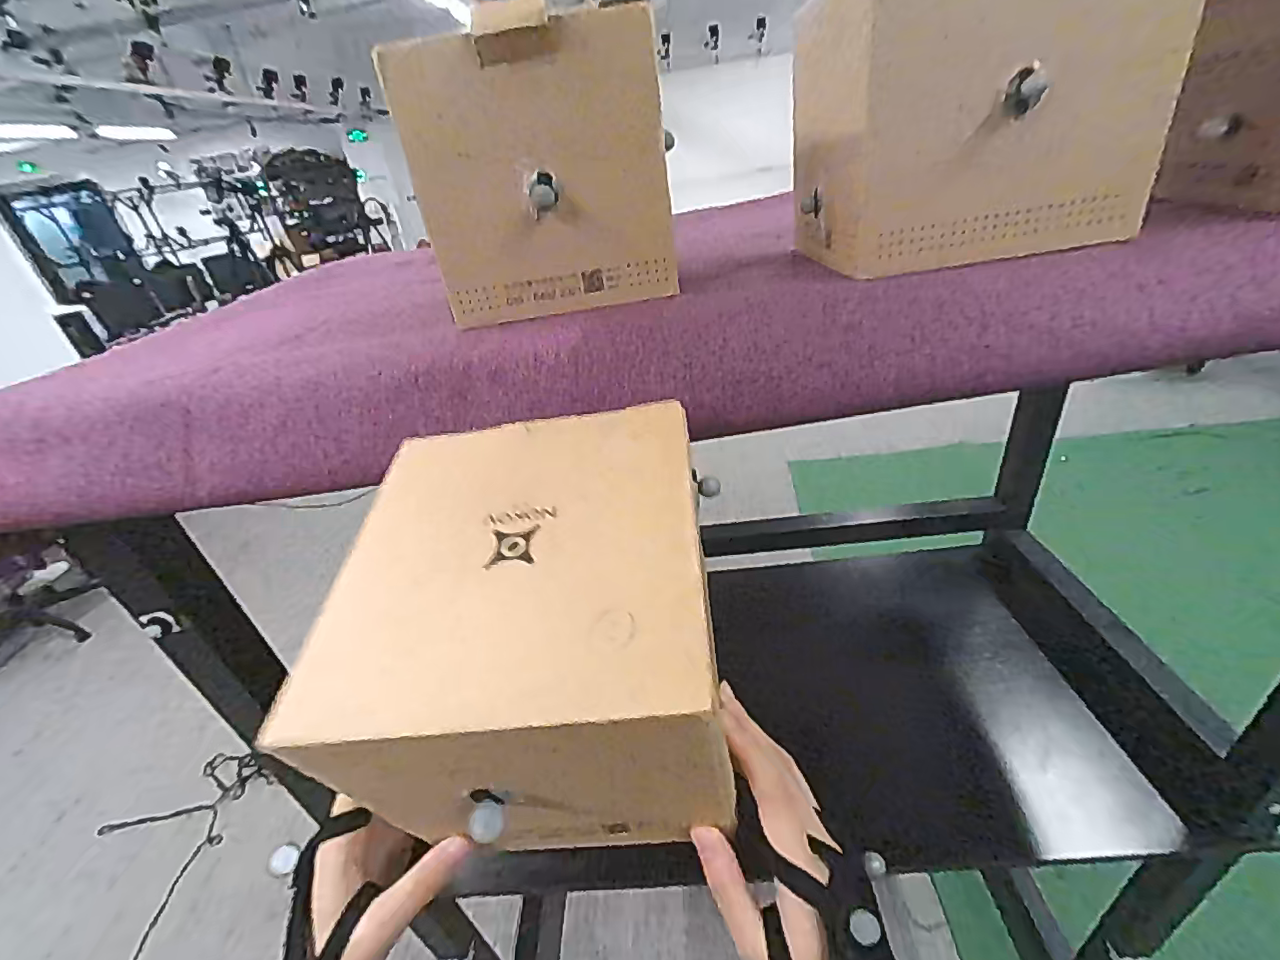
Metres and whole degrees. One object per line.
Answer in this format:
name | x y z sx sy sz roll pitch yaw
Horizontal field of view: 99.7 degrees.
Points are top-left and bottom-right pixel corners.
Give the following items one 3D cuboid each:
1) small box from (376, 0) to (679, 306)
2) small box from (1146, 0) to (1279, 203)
small box | -0.065 -0.241 0.419 0.168 0.176 0.179 -8 31 1
small box | 0.491 -0.286 0.342 0.179 0.176 0.168 -7 31 6
